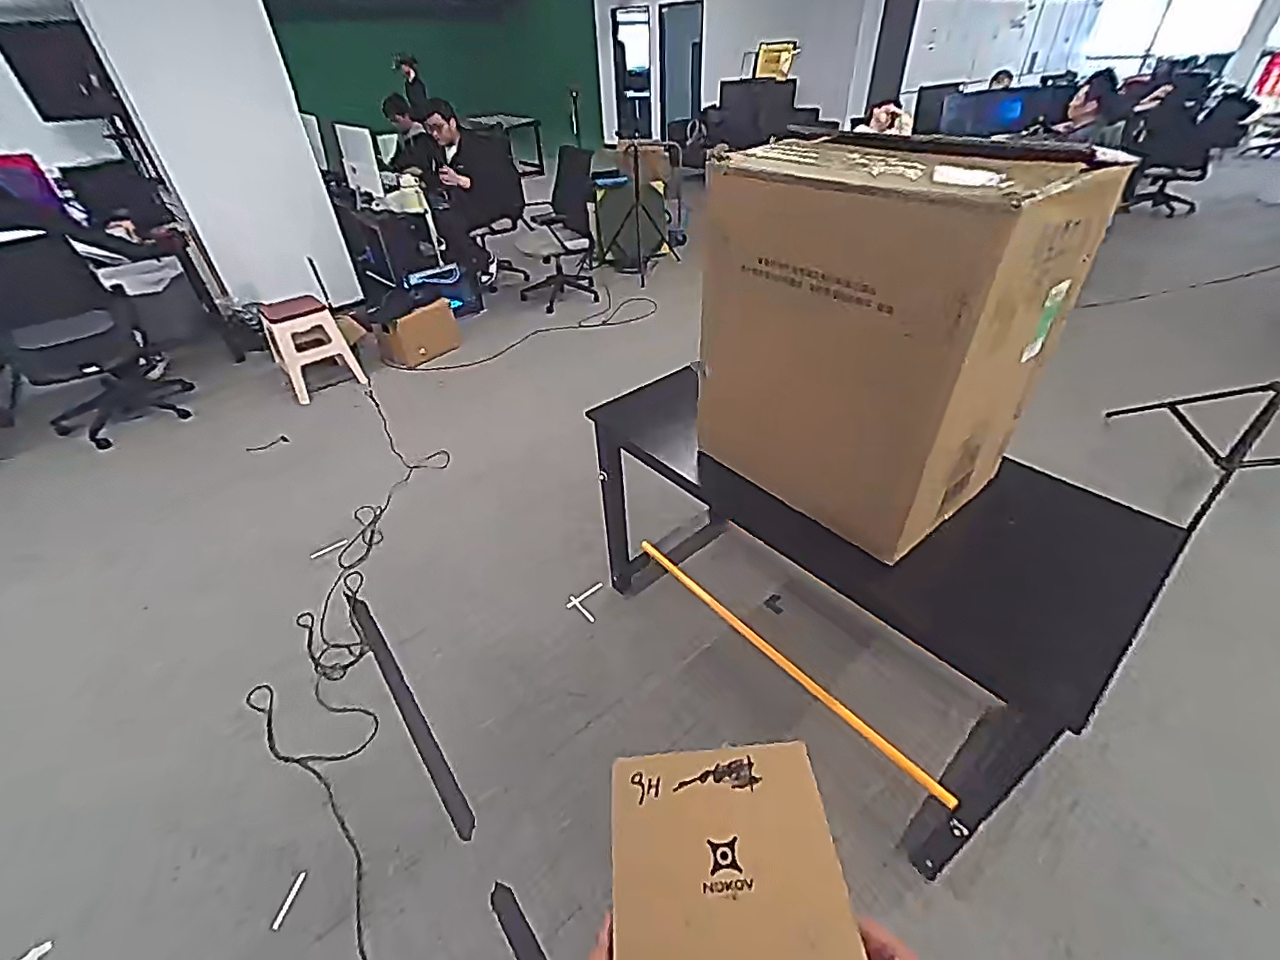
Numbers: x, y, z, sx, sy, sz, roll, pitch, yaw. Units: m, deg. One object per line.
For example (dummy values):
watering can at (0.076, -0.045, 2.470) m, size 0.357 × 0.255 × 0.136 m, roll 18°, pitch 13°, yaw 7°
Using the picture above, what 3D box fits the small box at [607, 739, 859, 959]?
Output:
small box at (0.066, 0.341, 0.439) m, size 0.168 × 0.176 × 0.179 m, roll -6°, pitch 39°, yaw 1°
